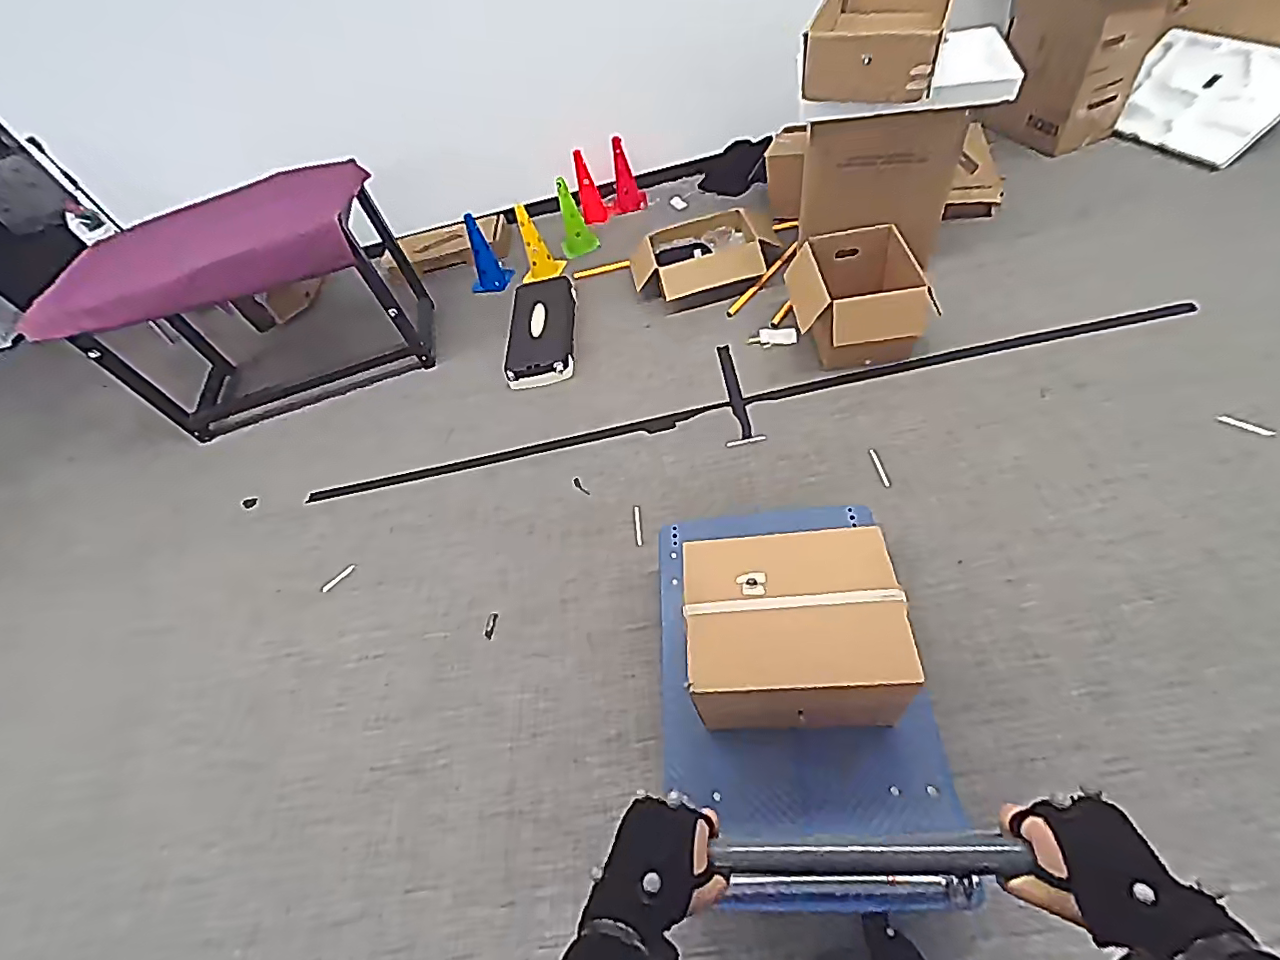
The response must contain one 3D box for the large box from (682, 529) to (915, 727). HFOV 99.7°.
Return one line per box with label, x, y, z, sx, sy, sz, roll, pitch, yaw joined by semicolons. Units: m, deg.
large box;0.318;0.335;1.175;0.408;0.320;0.320;-7;52;10
